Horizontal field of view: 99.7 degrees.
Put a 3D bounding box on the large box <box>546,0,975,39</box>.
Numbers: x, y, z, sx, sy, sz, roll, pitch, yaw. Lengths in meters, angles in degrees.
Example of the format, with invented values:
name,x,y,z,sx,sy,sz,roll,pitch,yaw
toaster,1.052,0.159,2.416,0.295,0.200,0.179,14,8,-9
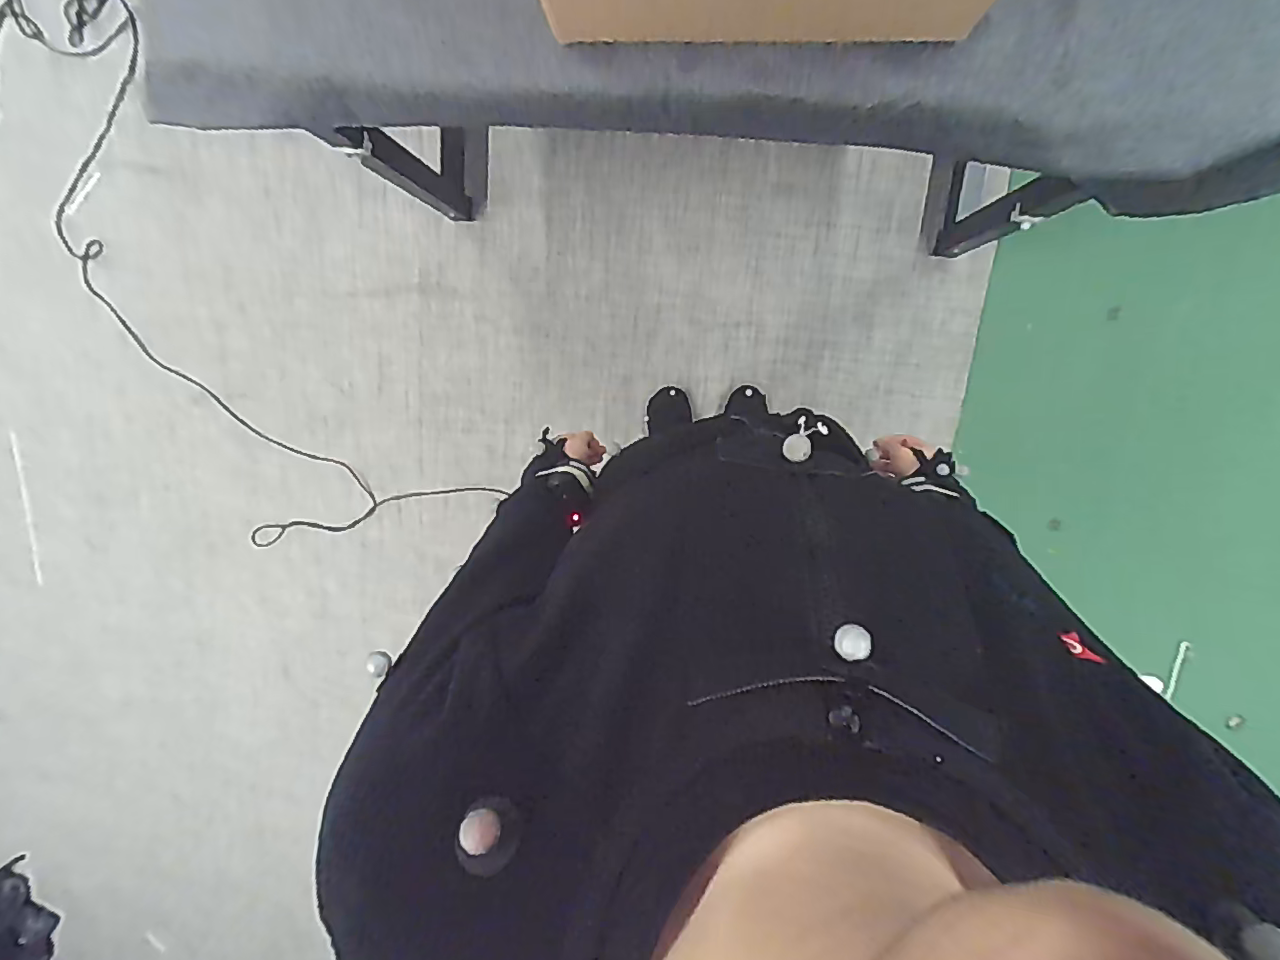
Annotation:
name,x,y,z,sx,sy,sz,roll,pitch,yaw
large box,0.103,-0.567,0.368,0.408,0.320,0.320,2,101,4
